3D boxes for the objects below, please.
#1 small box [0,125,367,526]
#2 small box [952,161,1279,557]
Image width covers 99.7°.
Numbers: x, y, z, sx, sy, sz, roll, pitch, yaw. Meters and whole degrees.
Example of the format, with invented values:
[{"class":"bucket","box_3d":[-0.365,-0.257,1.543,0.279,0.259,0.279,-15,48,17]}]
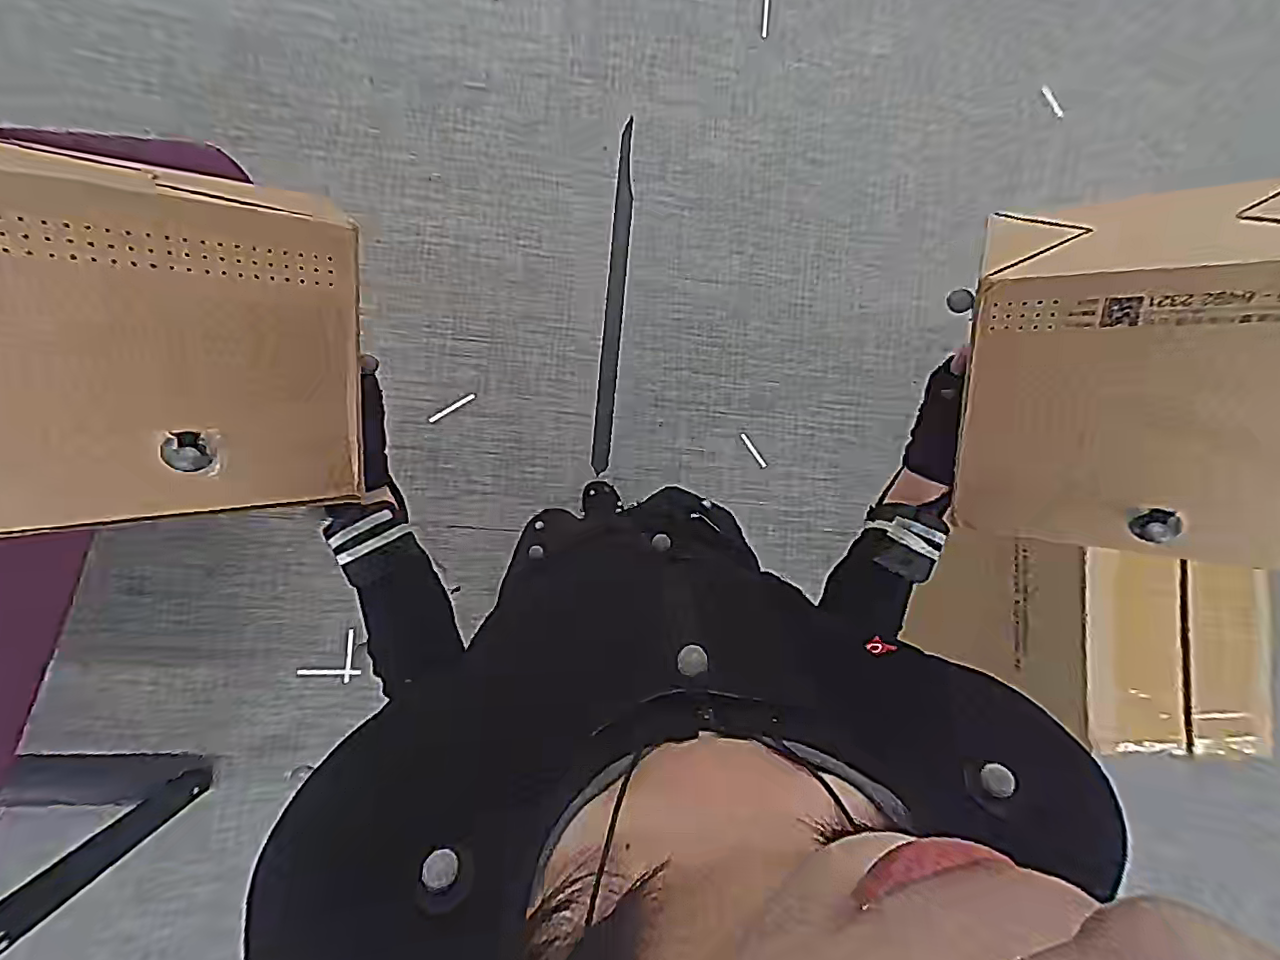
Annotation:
[{"class":"small box","box_3d":[-0.271,-0.094,0.321,0.179,0.168,0.176,-5,119,-33]},{"class":"small box","box_3d":[0.300,-0.083,0.335,0.179,0.168,0.176,-50,135,-43]}]
